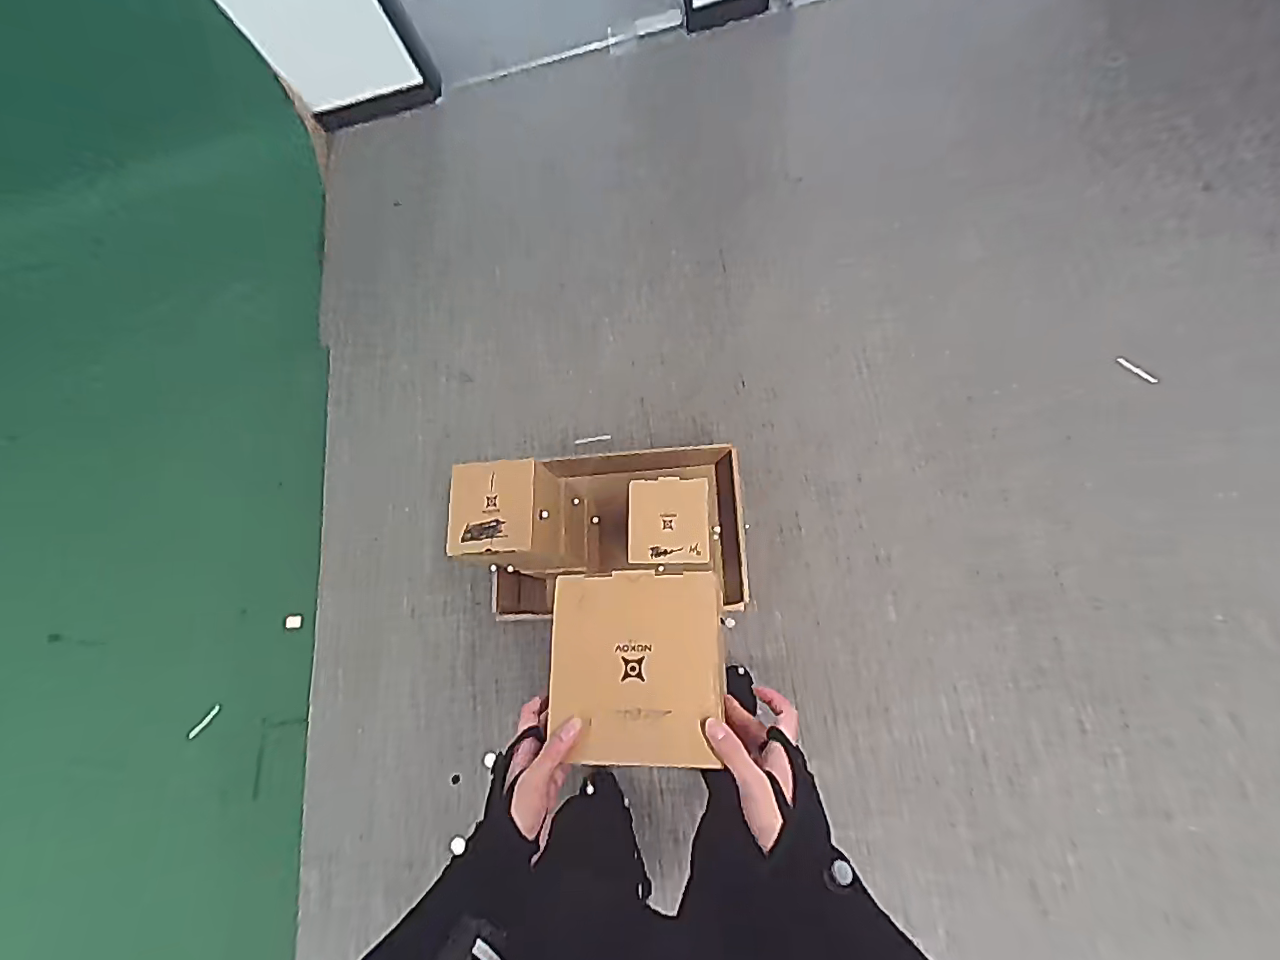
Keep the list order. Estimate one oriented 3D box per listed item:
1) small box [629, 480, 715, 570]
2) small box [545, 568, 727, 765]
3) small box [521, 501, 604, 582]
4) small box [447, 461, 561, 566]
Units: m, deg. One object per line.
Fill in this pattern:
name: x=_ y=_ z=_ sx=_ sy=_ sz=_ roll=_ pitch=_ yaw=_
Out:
small box: x=0.073 y=0.106 z=1.166 sx=0.168 sy=0.176 sz=0.179 roll=-2 pitch=74 yaw=10
small box: x=0.007 y=0.199 z=0.588 sx=0.168 sy=0.176 sz=0.179 roll=-3 pitch=70 yaw=10
small box: x=-0.191 y=0.160 z=1.373 sx=0.168 sy=0.176 sz=0.179 roll=-4 pitch=74 yaw=10
small box: x=-0.258 y=0.074 z=1.064 sx=0.168 sy=0.176 sz=0.179 roll=-4 pitch=73 yaw=9
